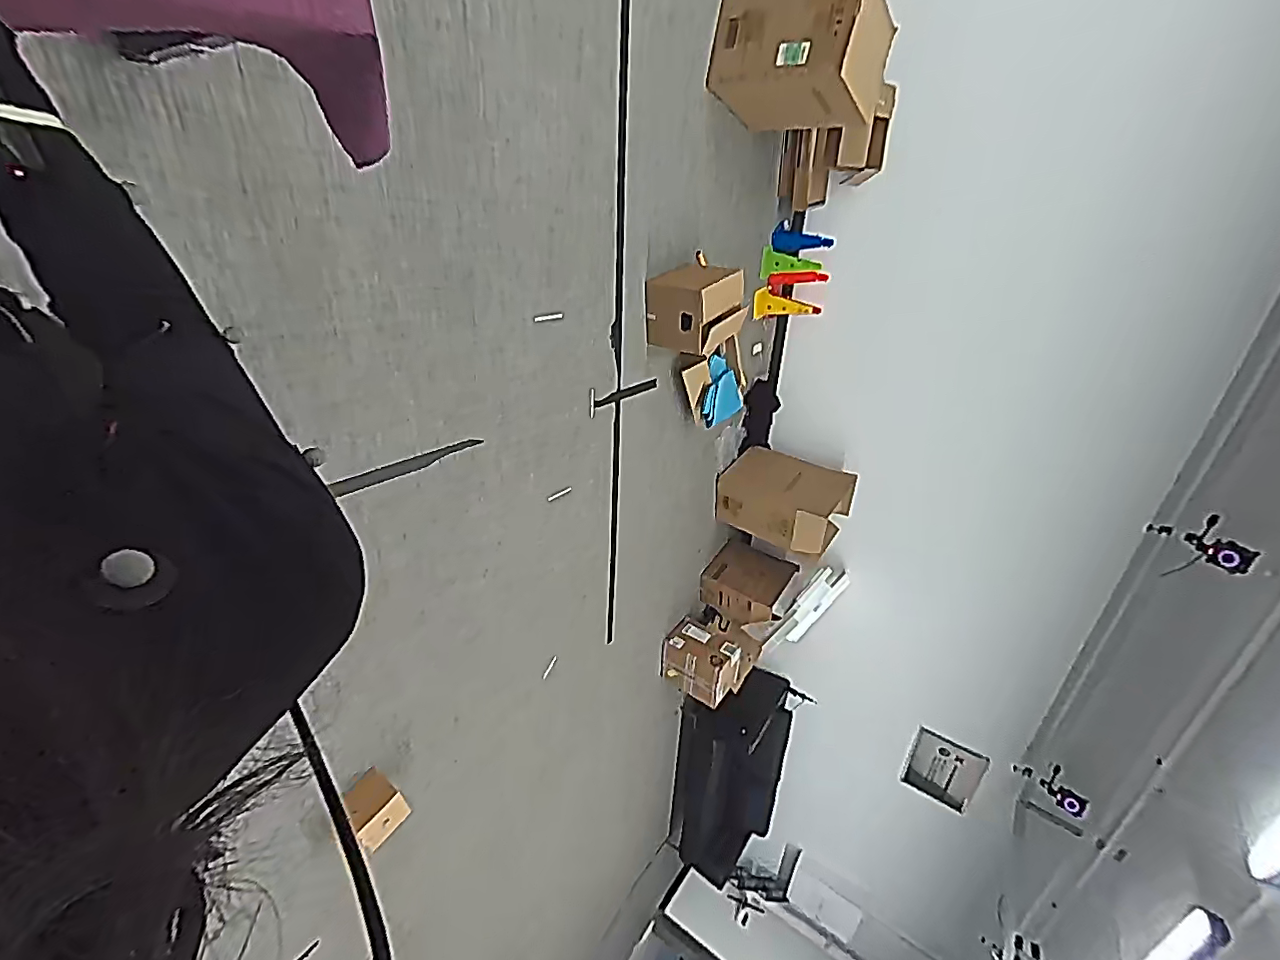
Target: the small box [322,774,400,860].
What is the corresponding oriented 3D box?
[{"bbox_3d":[-1.028,1.230,1.982,0.179,0.176,0.168,-43,142,-41],"label":"small box"}]
